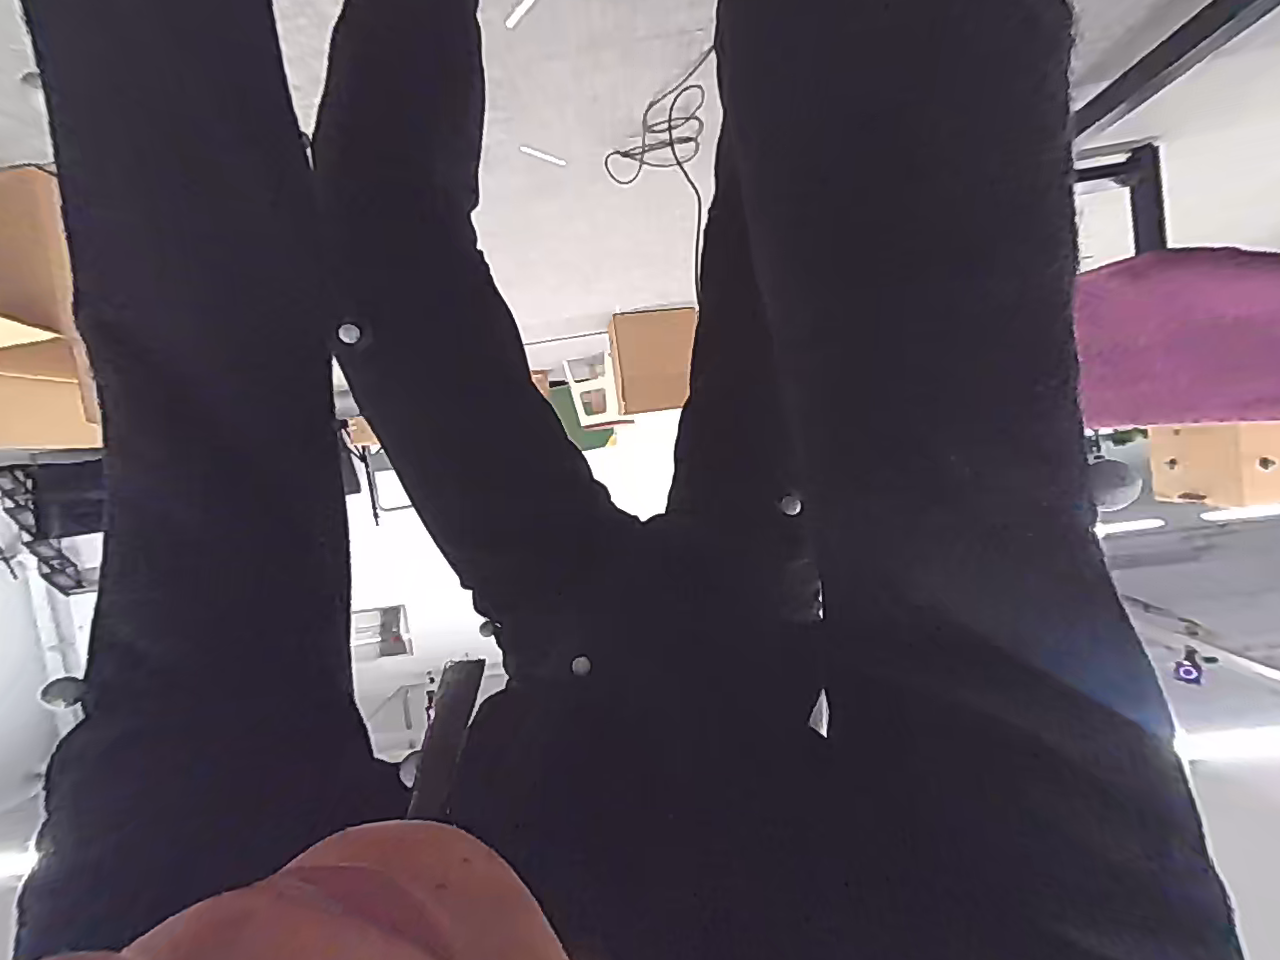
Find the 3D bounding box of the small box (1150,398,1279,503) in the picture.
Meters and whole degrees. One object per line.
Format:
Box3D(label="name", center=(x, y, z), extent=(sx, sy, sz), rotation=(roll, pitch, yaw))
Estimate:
Box3D(label="small box", center=(1.126, -0.058, 1.025), extent=(0.179, 0.176, 0.168), rotation=(-9, -176, -1))
